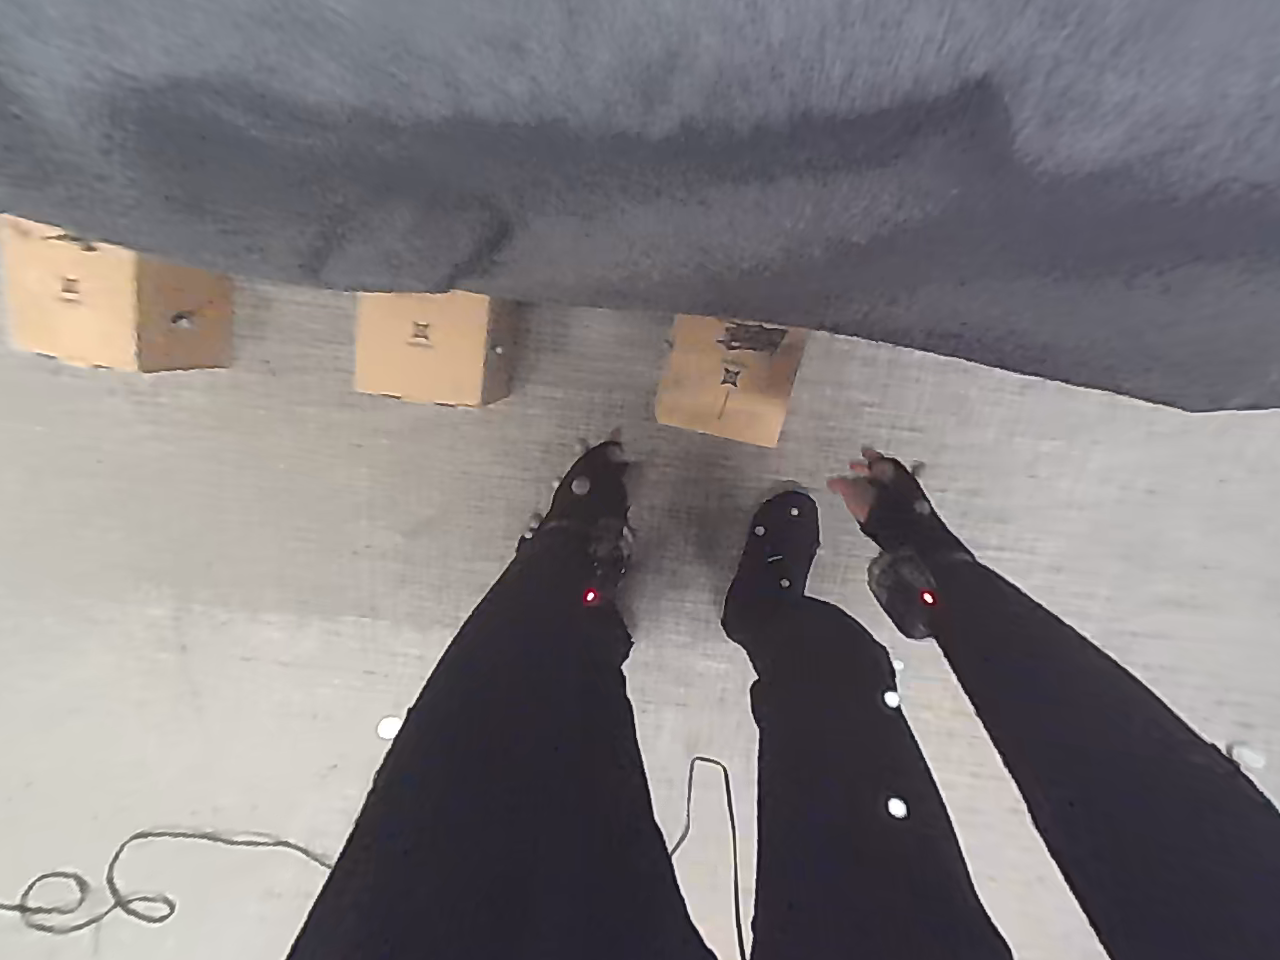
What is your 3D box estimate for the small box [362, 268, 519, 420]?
[{"bbox_3d":[-0.280,-0.191,0.786,0.168,0.176,0.179,8,101,-2],"label":"small box"}]
